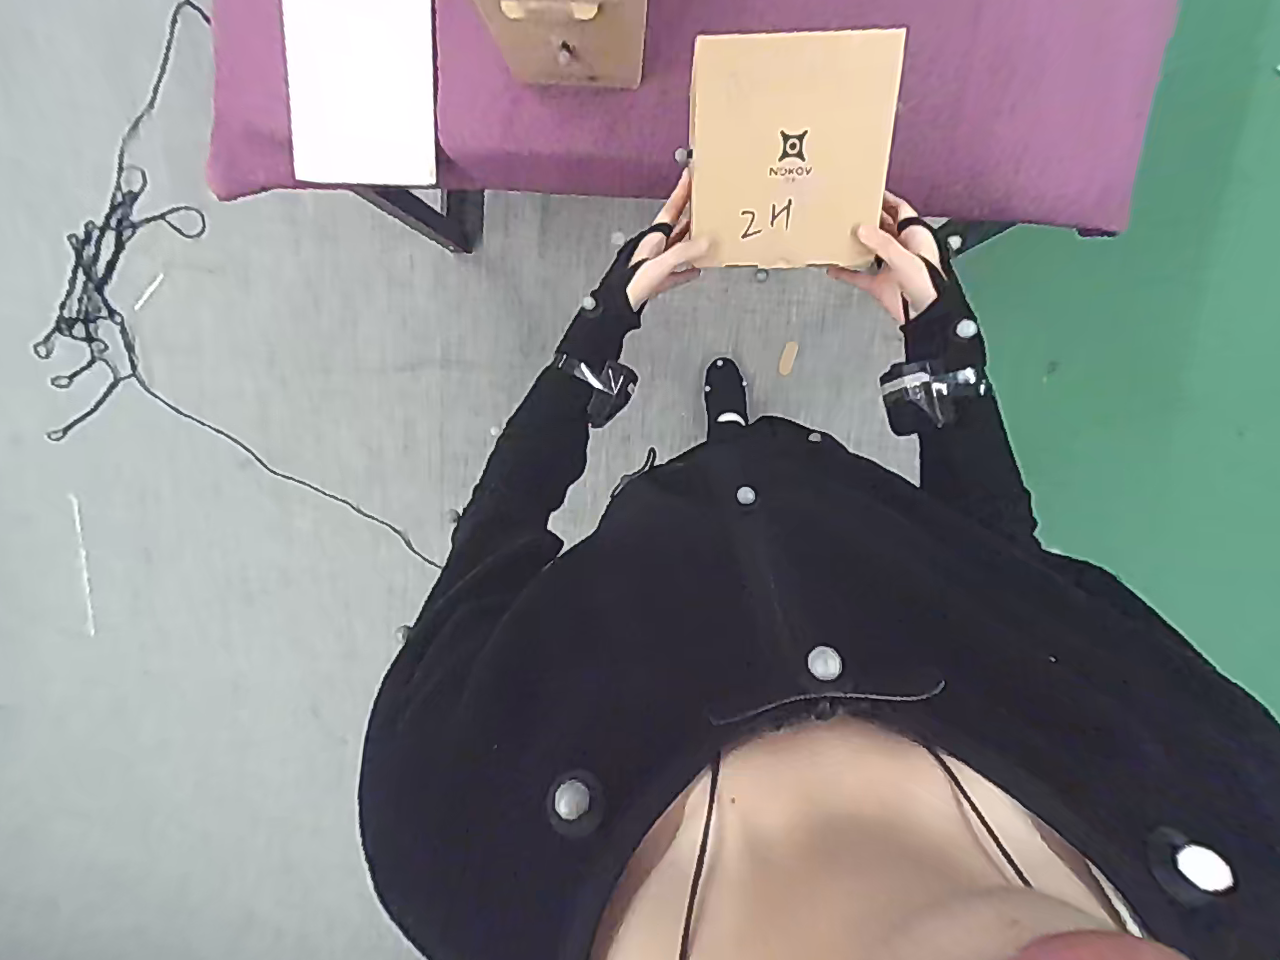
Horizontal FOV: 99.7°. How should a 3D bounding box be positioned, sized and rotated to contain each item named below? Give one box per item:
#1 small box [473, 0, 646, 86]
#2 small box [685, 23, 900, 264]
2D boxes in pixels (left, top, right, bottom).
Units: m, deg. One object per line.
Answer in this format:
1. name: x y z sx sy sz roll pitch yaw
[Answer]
1. small box: -0.080 -0.590 0.619 0.168 0.176 0.179 6 99 3
2. small box: 0.131 -0.313 0.539 0.168 0.176 0.179 1 111 4
